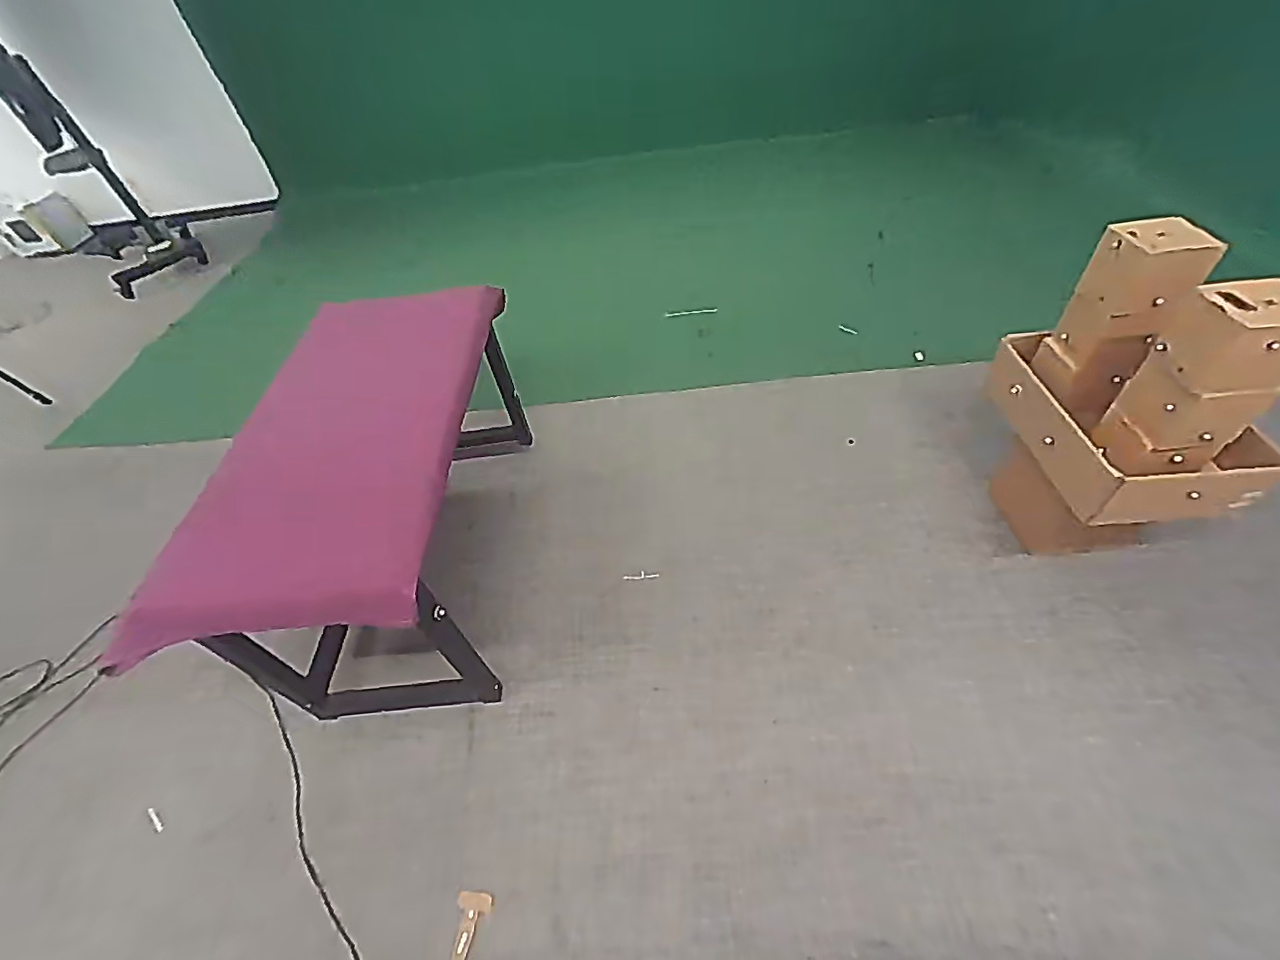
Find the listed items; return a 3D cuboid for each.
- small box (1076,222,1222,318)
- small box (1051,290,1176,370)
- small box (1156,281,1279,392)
[{"bbox_3d":[1.277,-0.531,1.373,0.179,0.176,0.168,-4,47,2],"label":"small box"},{"bbox_3d":[1.296,-0.422,1.494,0.179,0.176,0.168,-3,47,6],"label":"small box"},{"bbox_3d":[1.279,-0.303,1.164,0.179,0.176,0.168,-3,49,6],"label":"small box"}]
